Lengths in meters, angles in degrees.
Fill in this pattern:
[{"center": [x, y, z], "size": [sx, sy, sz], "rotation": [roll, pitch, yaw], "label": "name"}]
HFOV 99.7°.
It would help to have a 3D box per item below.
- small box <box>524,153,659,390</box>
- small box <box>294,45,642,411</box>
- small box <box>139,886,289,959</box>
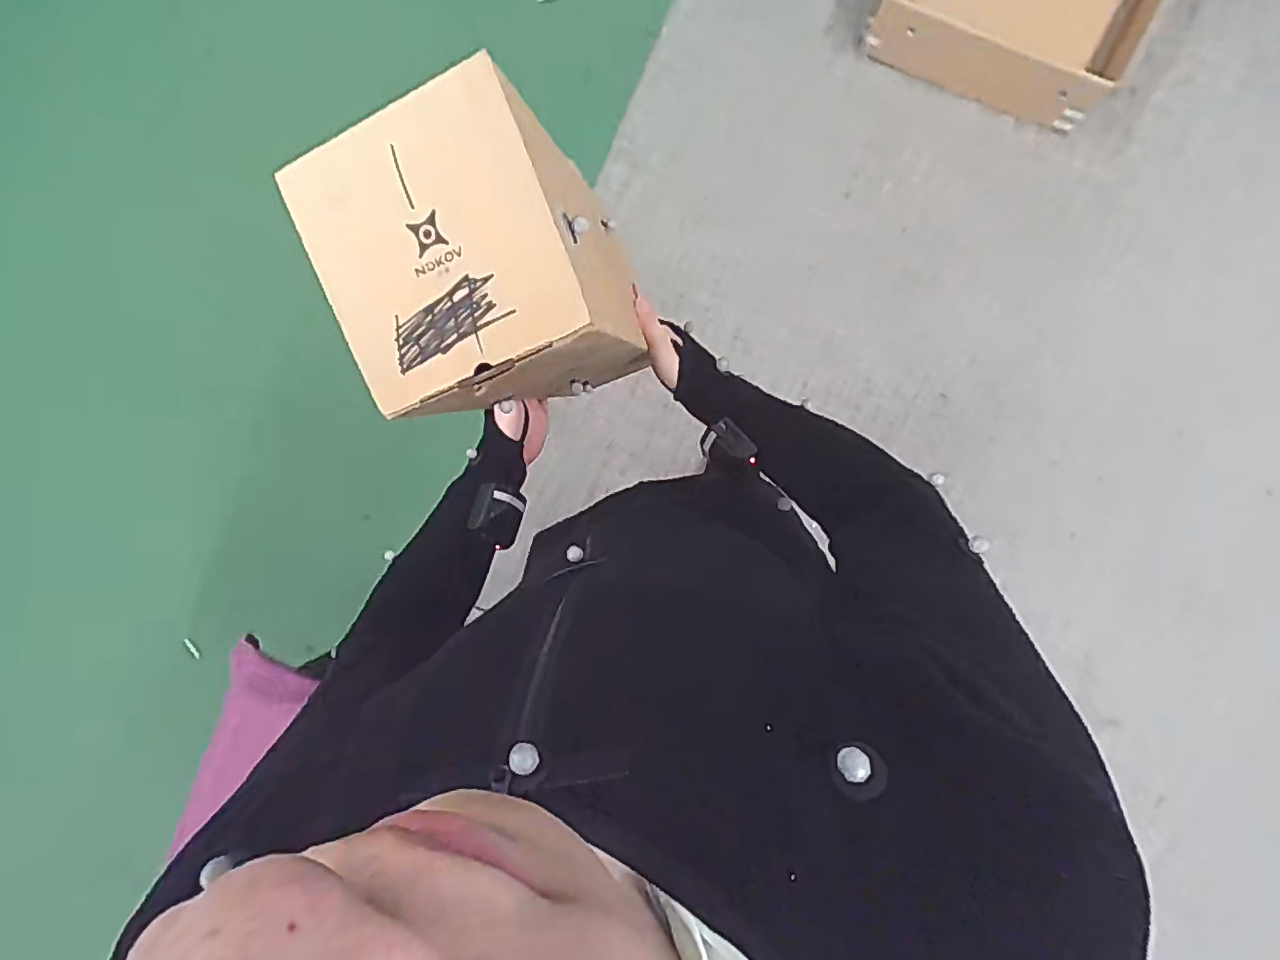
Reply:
[{"center": [-0.087, -0.201, 0.580], "size": [0.168, 0.176, 0.179], "rotation": [-17, 98, 11], "label": "small box"}, {"center": [-0.108, -0.167, 0.421], "size": [0.168, 0.176, 0.179], "rotation": [-19, 96, 11], "label": "small box"}, {"center": [-0.756, 0.871, 0.935], "size": [0.168, 0.176, 0.179], "rotation": [25, 95, 2], "label": "small box"}]
